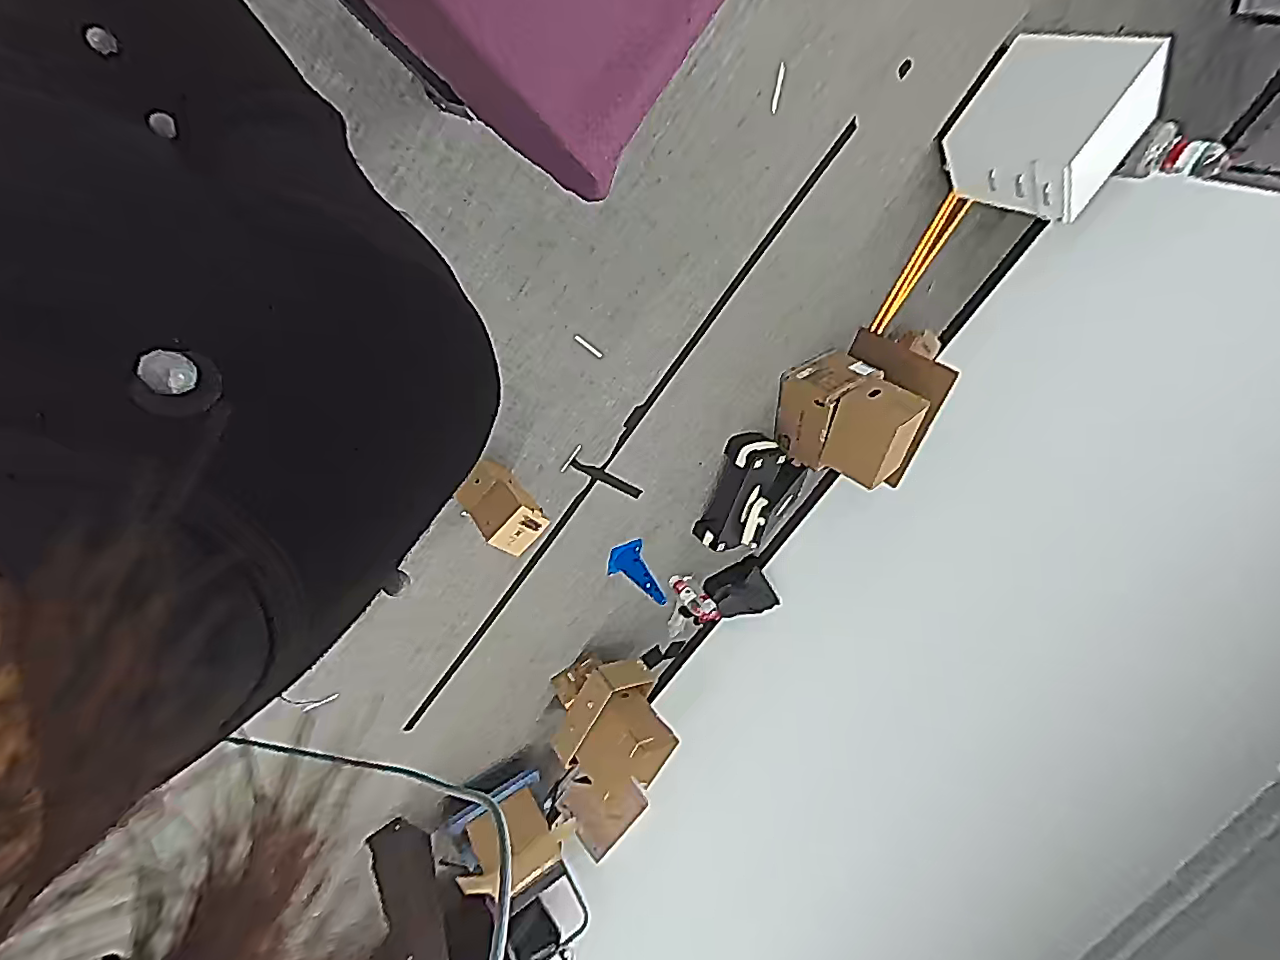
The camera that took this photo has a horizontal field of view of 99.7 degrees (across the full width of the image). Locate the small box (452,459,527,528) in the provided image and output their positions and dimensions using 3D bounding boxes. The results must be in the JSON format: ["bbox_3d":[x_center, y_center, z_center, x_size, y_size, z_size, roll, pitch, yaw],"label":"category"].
[{"bbox_3d":[-0.559,0.044,1.994,0.168,0.176,0.179,-50,143,5],"label":"small box"}]
